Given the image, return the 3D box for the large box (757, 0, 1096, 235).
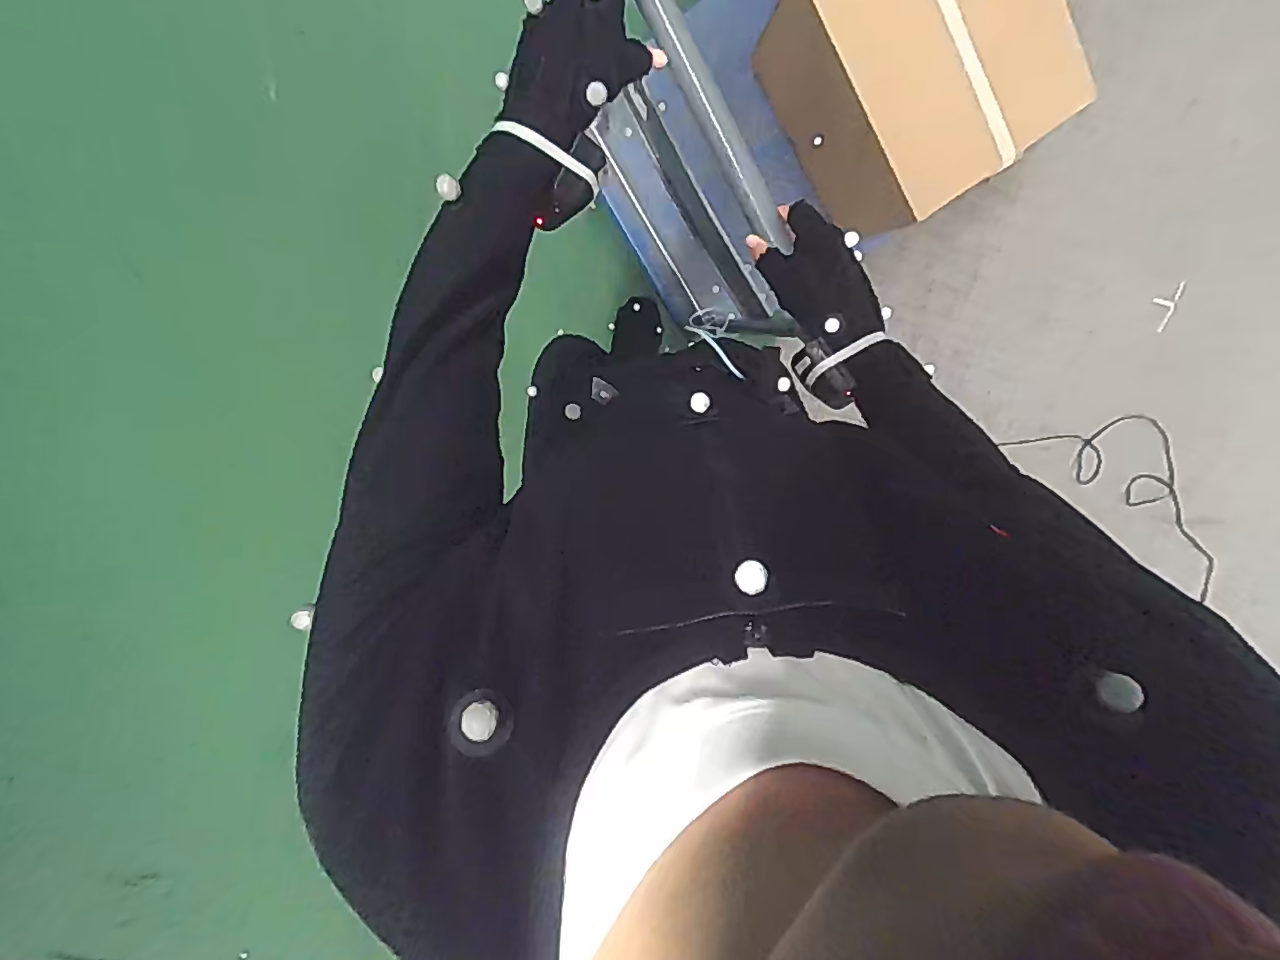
[{"bbox_3d":[0.462,-0.712,0.945,0.320,0.320,0.408,-34,105,8],"label":"large box"}]
